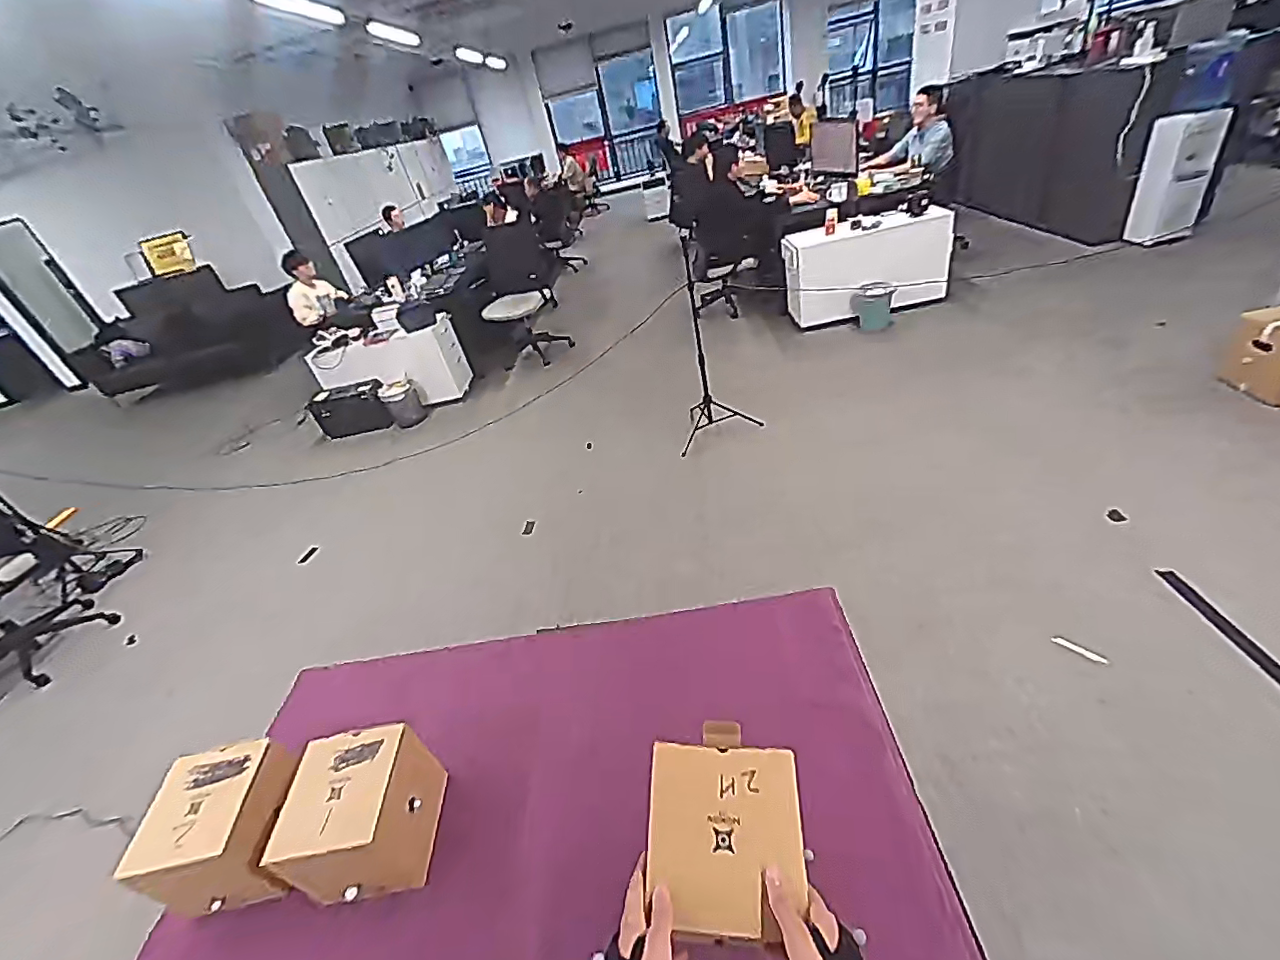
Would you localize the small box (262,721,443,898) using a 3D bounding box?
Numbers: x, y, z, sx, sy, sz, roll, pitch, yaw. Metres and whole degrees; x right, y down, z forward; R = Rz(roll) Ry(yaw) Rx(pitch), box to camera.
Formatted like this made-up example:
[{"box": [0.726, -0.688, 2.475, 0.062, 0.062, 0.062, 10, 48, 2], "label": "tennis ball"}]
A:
[{"box": [-0.431, 0.516, 0.850, 0.168, 0.176, 0.179, -12, 36, 3], "label": "small box"}]

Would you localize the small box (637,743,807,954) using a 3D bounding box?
[{"box": [0.093, 0.427, 0.627, 0.168, 0.176, 0.179, 0, 48, 7], "label": "small box"}]
